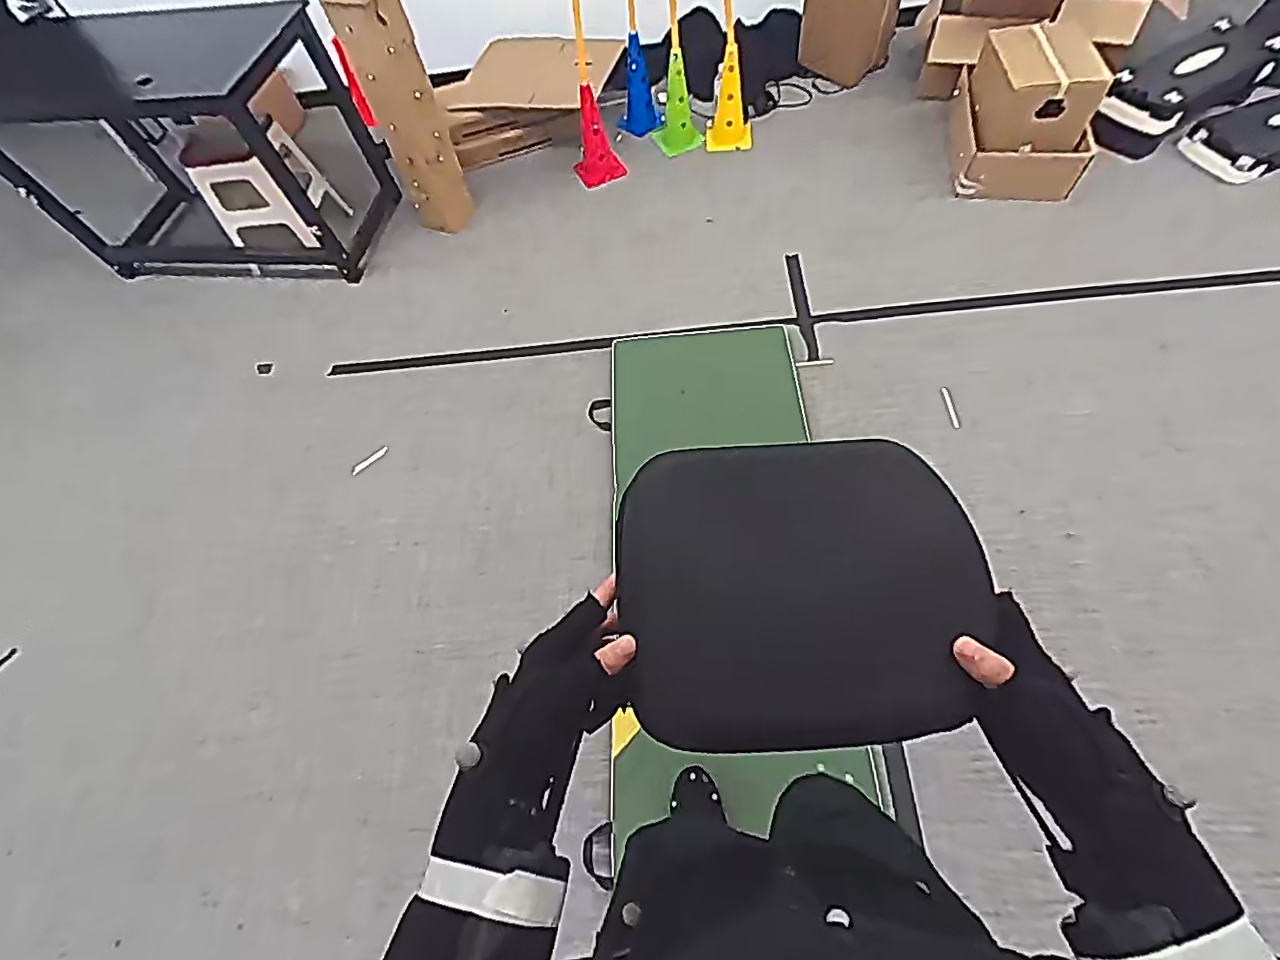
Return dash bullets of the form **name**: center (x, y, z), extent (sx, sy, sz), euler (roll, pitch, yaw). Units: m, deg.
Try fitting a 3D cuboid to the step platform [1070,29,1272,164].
- **step platform**: center (2.109, -1.535, 2.155), extent (0.684, 0.204, 0.286), euler (-30, 63, -9)
